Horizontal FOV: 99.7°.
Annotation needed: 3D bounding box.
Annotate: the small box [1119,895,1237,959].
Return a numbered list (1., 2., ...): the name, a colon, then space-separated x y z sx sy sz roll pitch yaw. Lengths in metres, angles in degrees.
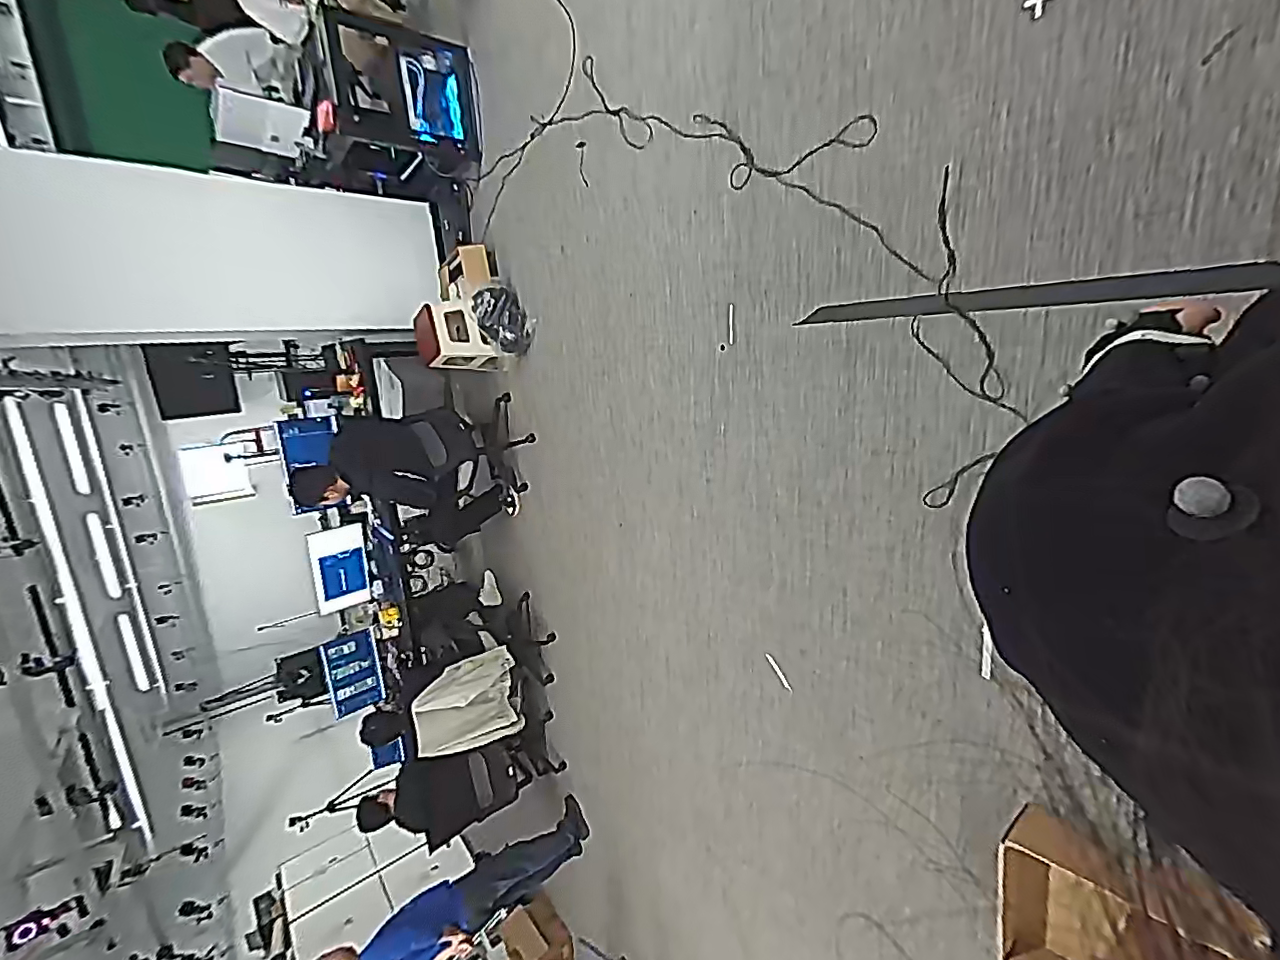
1. small box: 1.171 1.071 1.174 0.168 0.176 0.179 -1 100 52
